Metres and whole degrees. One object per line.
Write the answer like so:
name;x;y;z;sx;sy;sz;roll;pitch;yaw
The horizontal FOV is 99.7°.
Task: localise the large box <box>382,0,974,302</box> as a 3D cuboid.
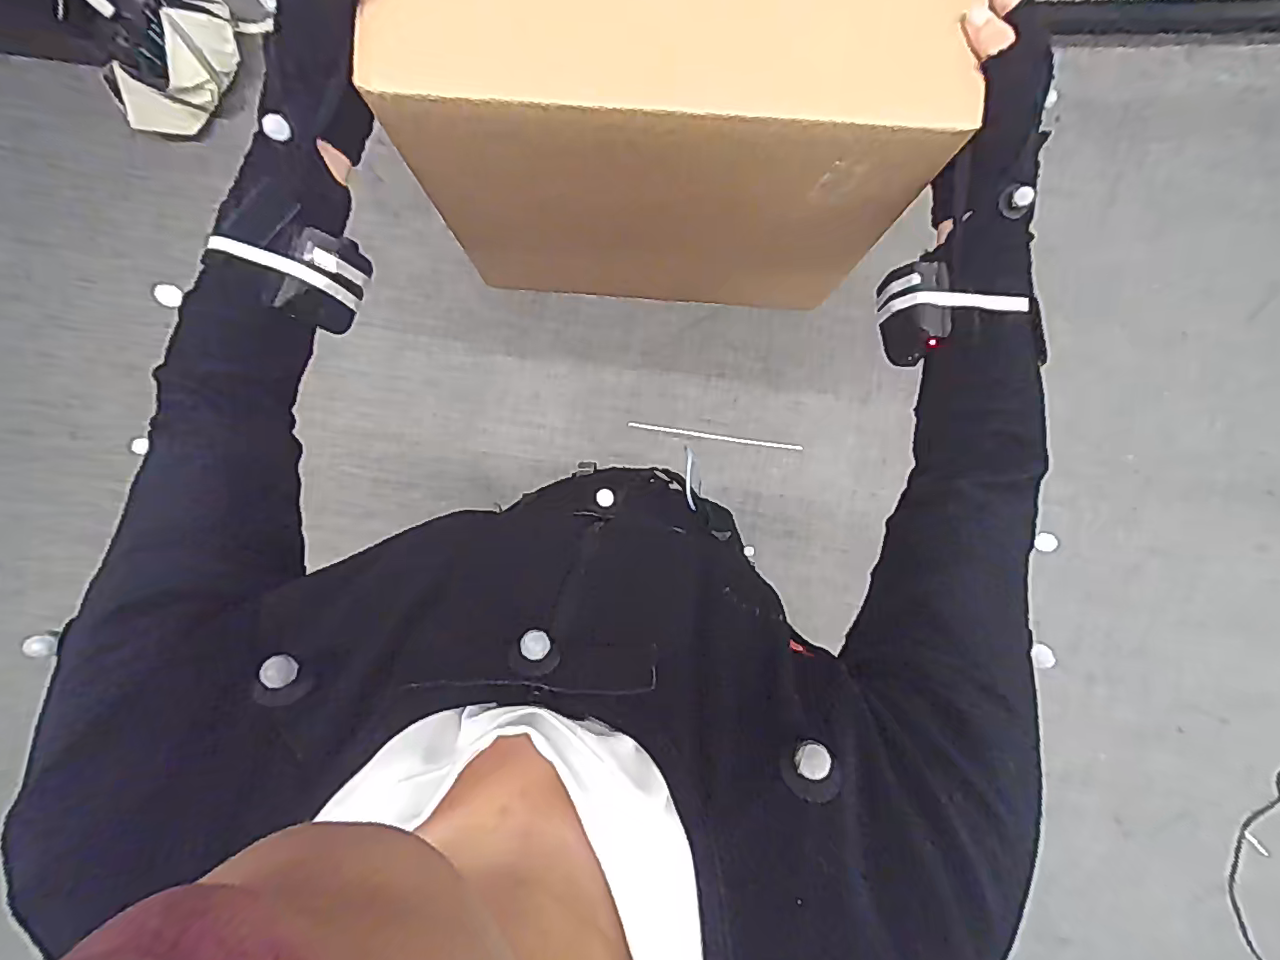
large box;0.028;-0.385;0.518;0.408;0.320;0.320;4;87;-1
